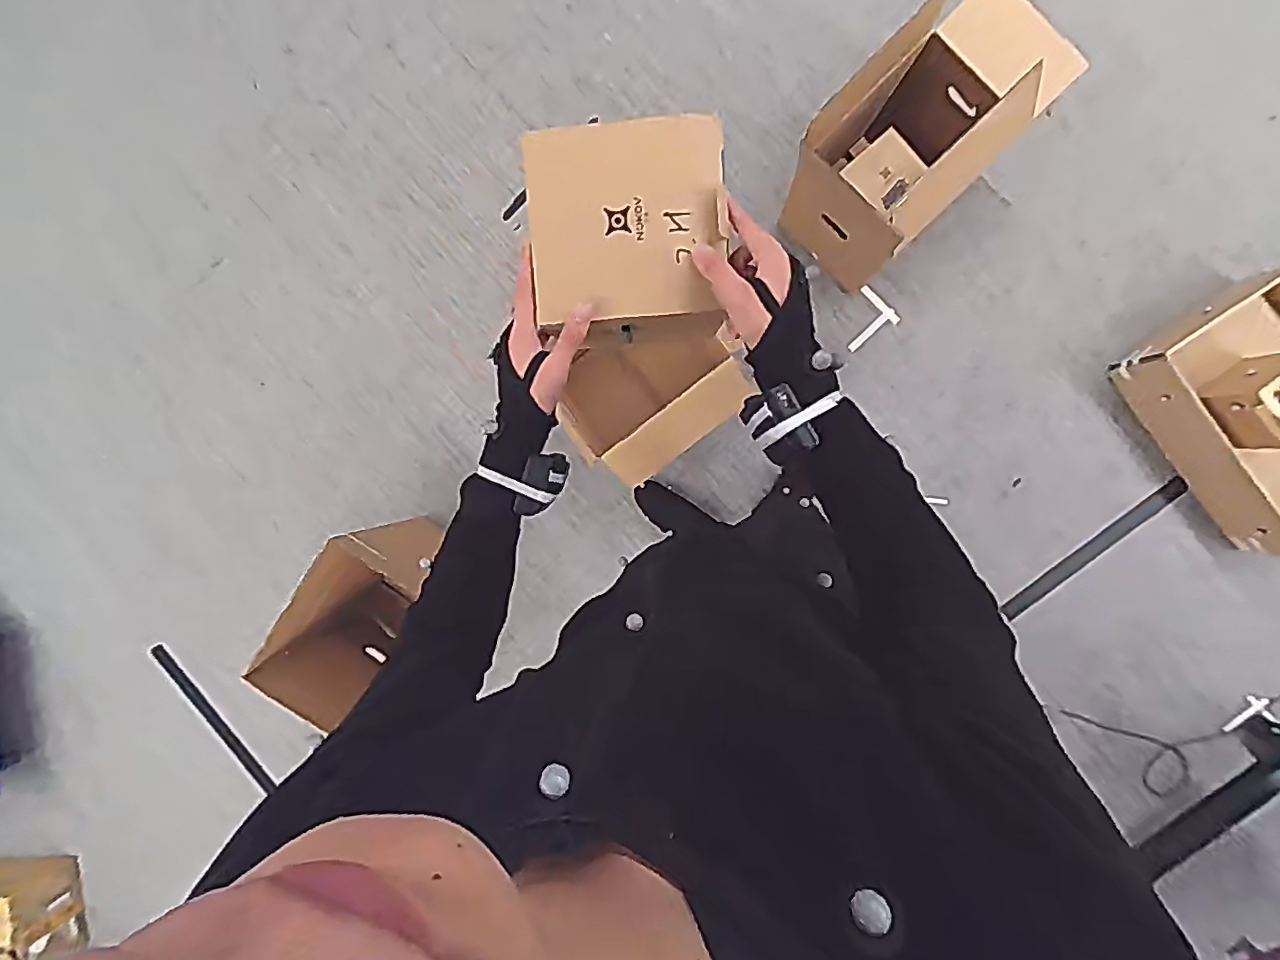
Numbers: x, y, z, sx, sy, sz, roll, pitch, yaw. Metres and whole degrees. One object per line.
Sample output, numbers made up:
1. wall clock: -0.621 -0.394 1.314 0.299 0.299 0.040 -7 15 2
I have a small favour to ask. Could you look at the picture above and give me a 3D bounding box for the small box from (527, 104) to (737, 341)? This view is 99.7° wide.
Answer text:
1. small box: -0.002 -0.237 0.543 0.179 0.176 0.168 -3 97 3
